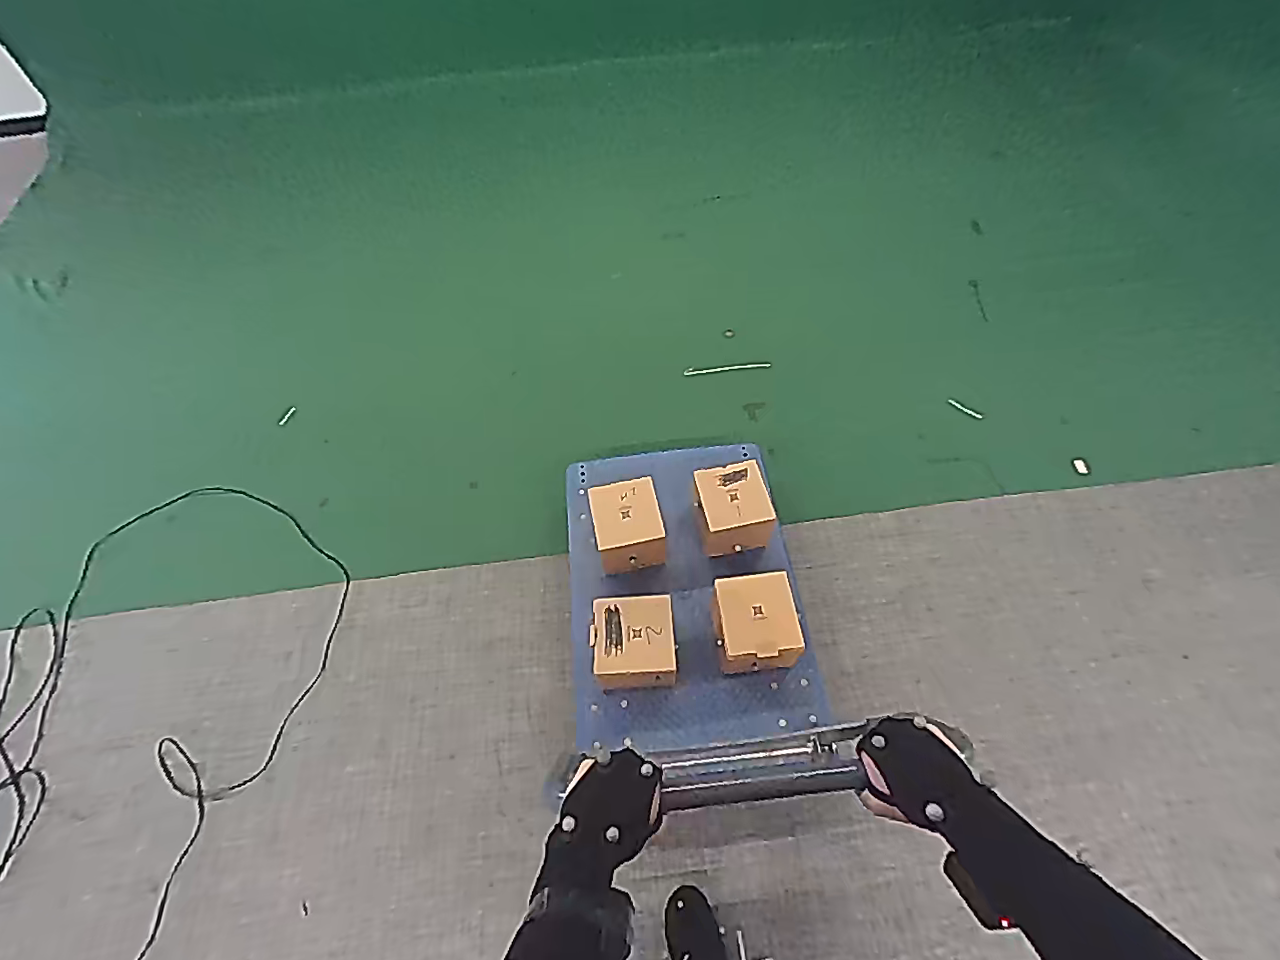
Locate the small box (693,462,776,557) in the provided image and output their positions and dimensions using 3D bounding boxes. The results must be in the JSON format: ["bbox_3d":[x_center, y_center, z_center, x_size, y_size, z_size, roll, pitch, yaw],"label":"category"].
[{"bbox_3d":[0.235,0.080,1.403,0.168,0.176,0.179,-11,60,-3],"label":"small box"}]

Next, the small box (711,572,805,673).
[{"bbox_3d":[0.263,0.332,1.251,0.168,0.176,0.179,-6,59,-1],"label":"small box"}]

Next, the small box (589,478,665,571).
[{"bbox_3d":[-0.030,0.123,1.390,0.168,0.176,0.179,-11,59,-4],"label":"small box"}]
